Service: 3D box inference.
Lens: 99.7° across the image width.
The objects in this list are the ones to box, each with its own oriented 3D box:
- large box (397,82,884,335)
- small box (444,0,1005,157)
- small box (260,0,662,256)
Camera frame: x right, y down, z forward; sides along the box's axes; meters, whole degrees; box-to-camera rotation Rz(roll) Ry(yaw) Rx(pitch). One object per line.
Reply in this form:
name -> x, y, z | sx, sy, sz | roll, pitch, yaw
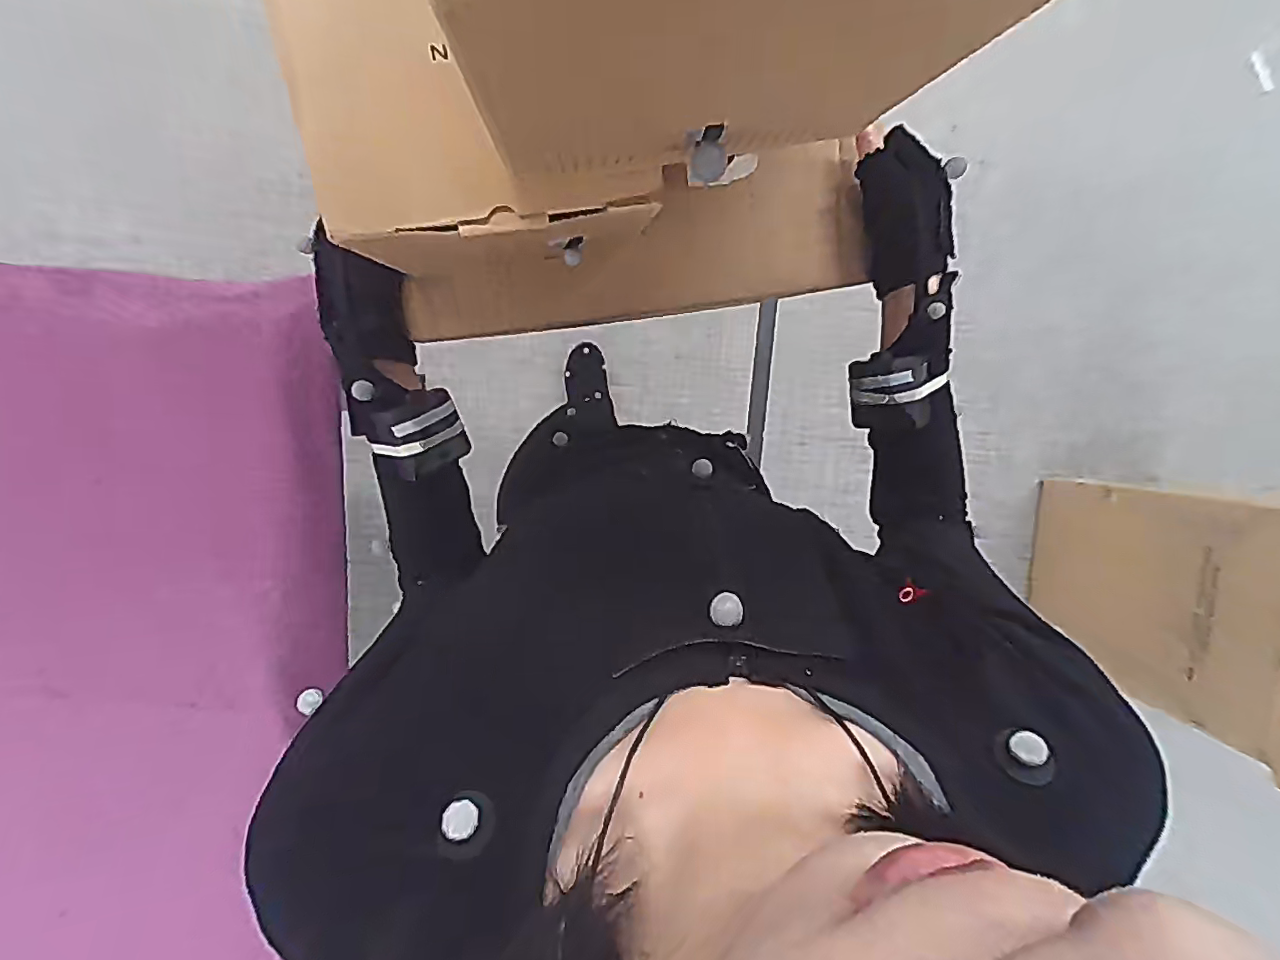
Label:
large box -> -0.029, -0.335, 0.544 | 0.408, 0.320, 0.320 | -10, 108, -6
small box -> 0.020, -0.216, 0.157 | 0.179, 0.176, 0.168 | -11, 107, -4
small box -> -0.090, -0.234, 0.309 | 0.168, 0.176, 0.179 | -10, 105, -7
